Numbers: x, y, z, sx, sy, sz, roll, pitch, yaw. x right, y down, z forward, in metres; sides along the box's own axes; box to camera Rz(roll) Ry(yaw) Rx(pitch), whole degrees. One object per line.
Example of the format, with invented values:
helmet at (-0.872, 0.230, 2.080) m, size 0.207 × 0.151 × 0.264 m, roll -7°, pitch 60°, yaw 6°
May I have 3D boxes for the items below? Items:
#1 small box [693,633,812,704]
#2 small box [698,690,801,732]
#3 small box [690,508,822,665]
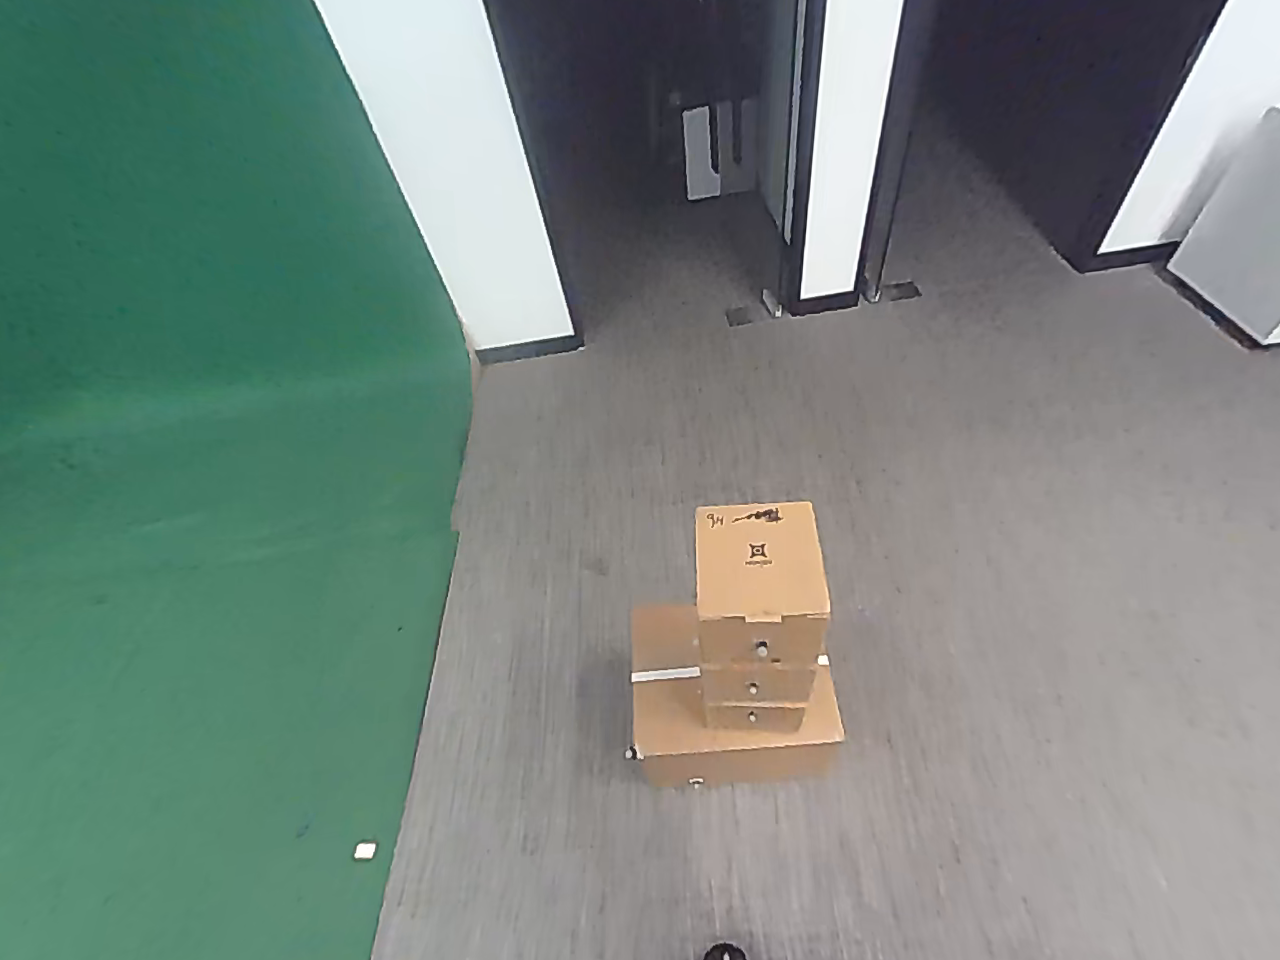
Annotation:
small box at (0.182, 0.268, 0.910) m, size 0.179 × 0.176 × 0.168 m, roll -4°, pitch 51°, yaw 10°
small box at (0.202, 0.373, 1.033) m, size 0.179 × 0.176 × 0.168 m, roll -1°, pitch 52°, yaw 7°
small box at (0.163, 0.160, 0.788) m, size 0.168 × 0.176 × 0.179 m, roll -3°, pitch 52°, yaw 8°
